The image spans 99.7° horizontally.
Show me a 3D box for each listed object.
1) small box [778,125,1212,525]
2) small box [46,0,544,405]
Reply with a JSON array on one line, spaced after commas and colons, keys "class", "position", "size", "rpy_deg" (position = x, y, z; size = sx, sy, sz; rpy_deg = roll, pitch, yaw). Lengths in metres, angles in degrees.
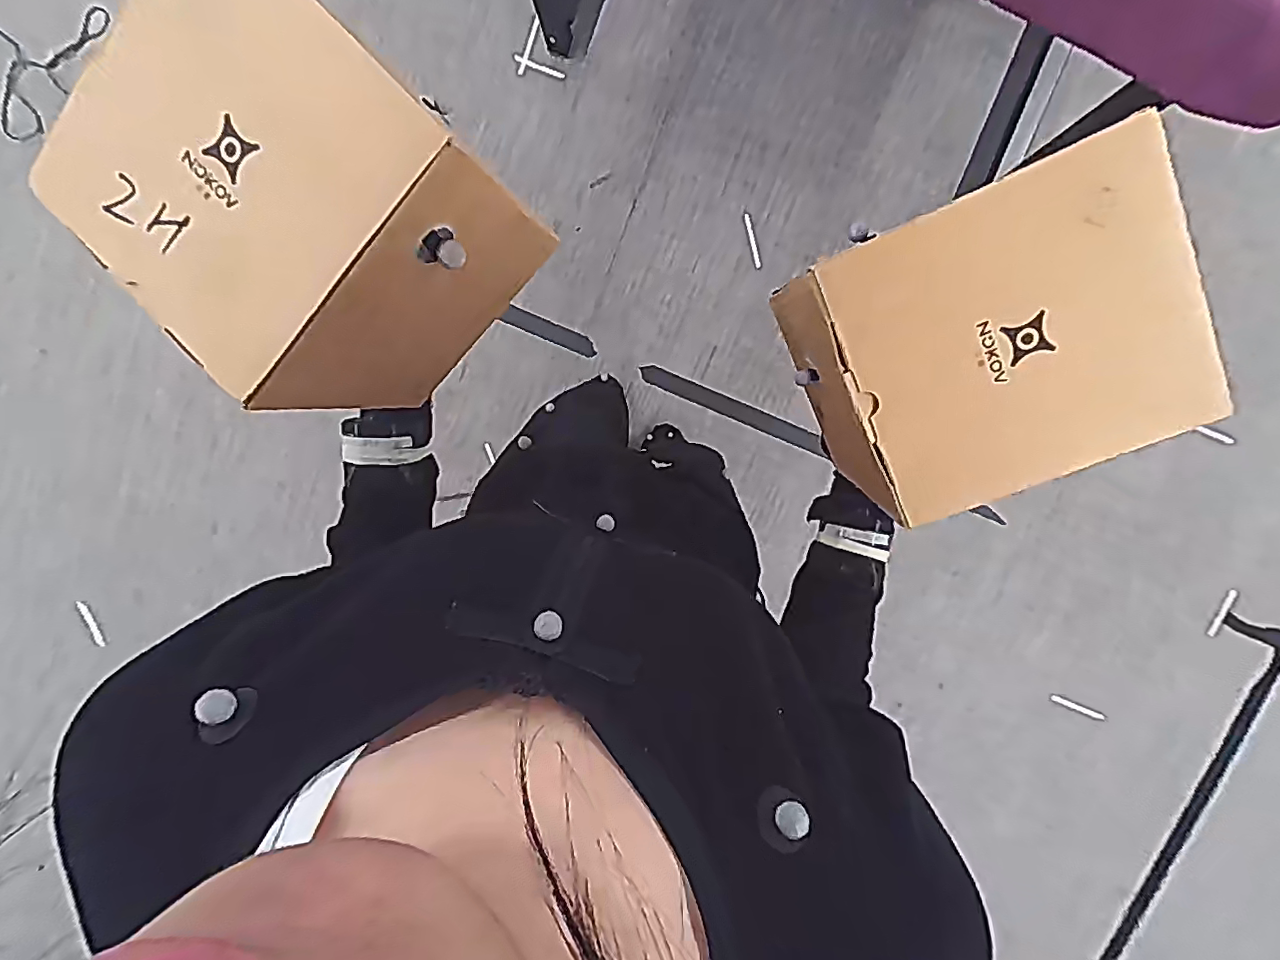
[{"class": "small box", "position": [0.214, -0.096, 0.376], "size": [0.179, 0.176, 0.168], "rpy_deg": [-23, 101, 12]}, {"class": "small box", "position": [-0.182, -0.167, 0.343], "size": [0.179, 0.176, 0.168], "rpy_deg": [-44, 89, 13]}]
